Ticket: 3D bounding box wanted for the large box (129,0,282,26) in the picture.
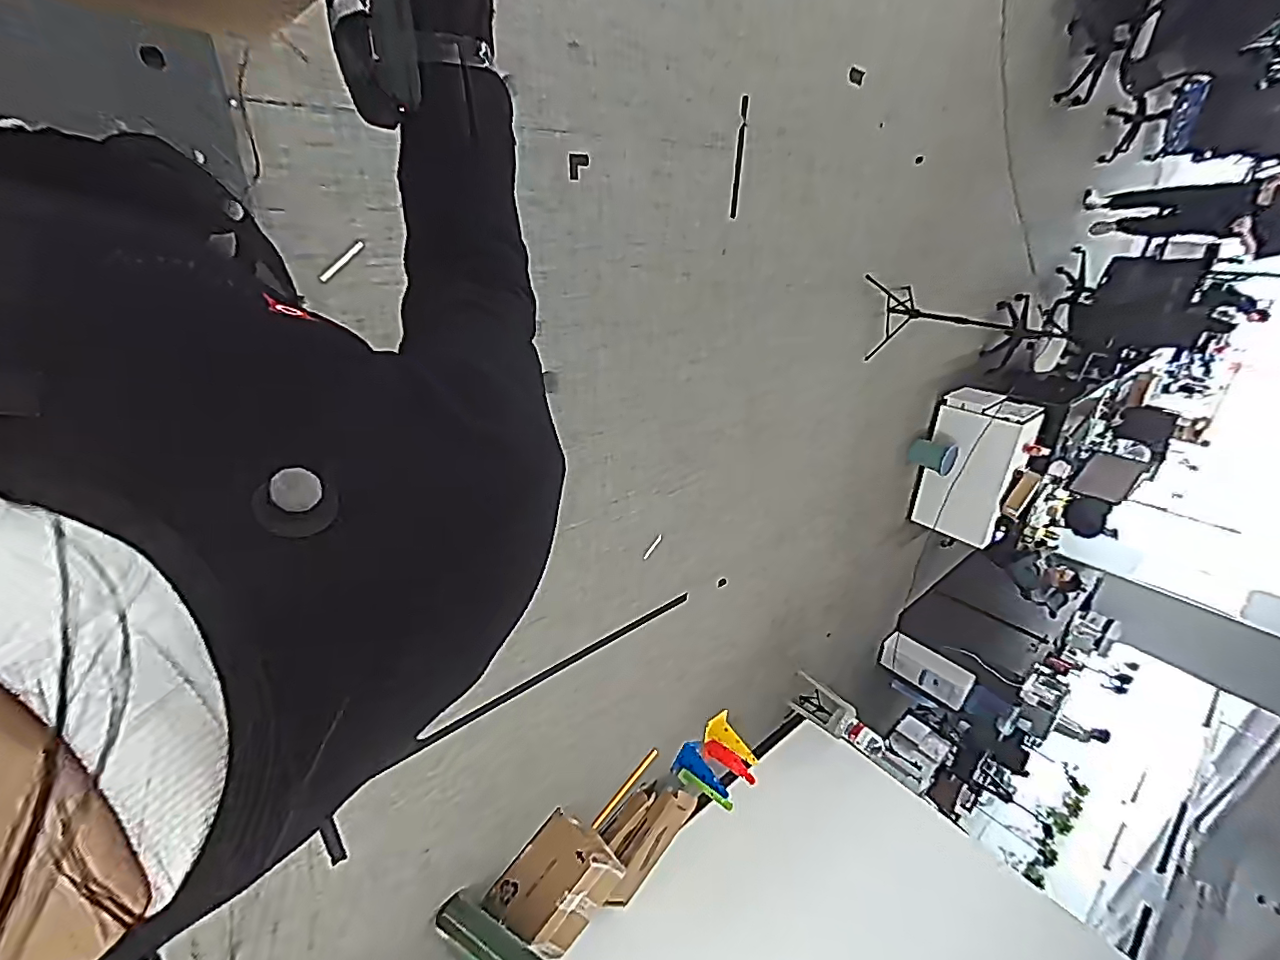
[{"bbox_3d":[-0.388,-0.433,0.203,0.408,0.320,0.320,-17,126,-37],"label":"large box"}]
